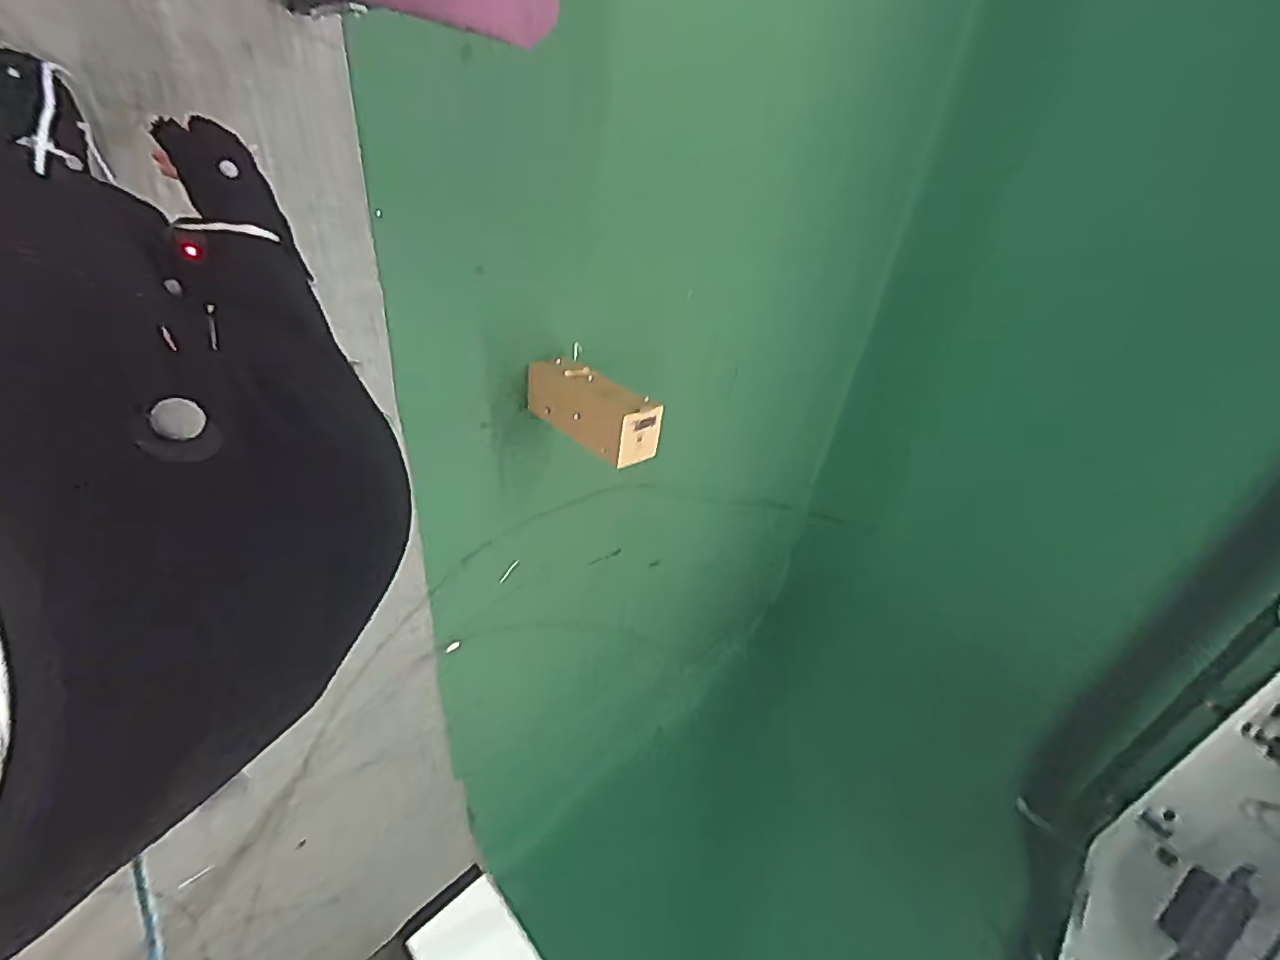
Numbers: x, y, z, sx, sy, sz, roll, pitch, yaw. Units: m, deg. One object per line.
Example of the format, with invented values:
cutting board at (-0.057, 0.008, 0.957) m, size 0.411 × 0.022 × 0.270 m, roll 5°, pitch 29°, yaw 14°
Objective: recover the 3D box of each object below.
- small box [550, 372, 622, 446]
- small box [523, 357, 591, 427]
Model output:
small box at (-0.182, -0.237, 1.780) m, size 0.168 × 0.176 × 0.179 m, roll -21°, pitch 131°, yaw -41°
small box at (-0.291, -0.311, 1.877) m, size 0.168 × 0.176 × 0.179 m, roll -23°, pitch 132°, yaw -41°
